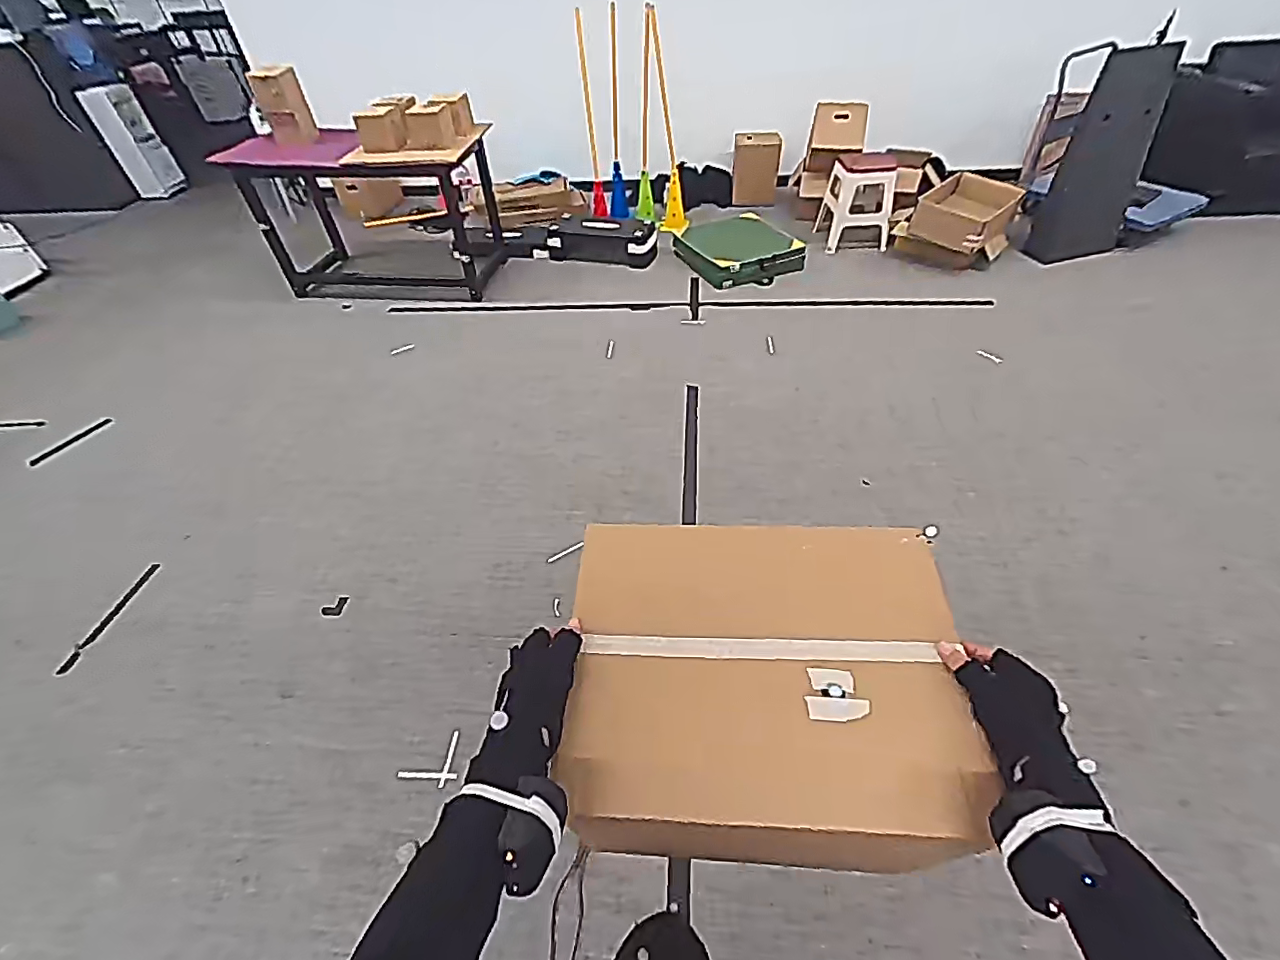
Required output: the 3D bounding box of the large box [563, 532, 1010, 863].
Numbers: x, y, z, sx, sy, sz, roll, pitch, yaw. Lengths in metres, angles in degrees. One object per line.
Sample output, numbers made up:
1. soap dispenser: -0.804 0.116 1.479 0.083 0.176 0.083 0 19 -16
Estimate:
1. large box: 0.139 0.279 0.688 0.408 0.320 0.320 0 51 5
